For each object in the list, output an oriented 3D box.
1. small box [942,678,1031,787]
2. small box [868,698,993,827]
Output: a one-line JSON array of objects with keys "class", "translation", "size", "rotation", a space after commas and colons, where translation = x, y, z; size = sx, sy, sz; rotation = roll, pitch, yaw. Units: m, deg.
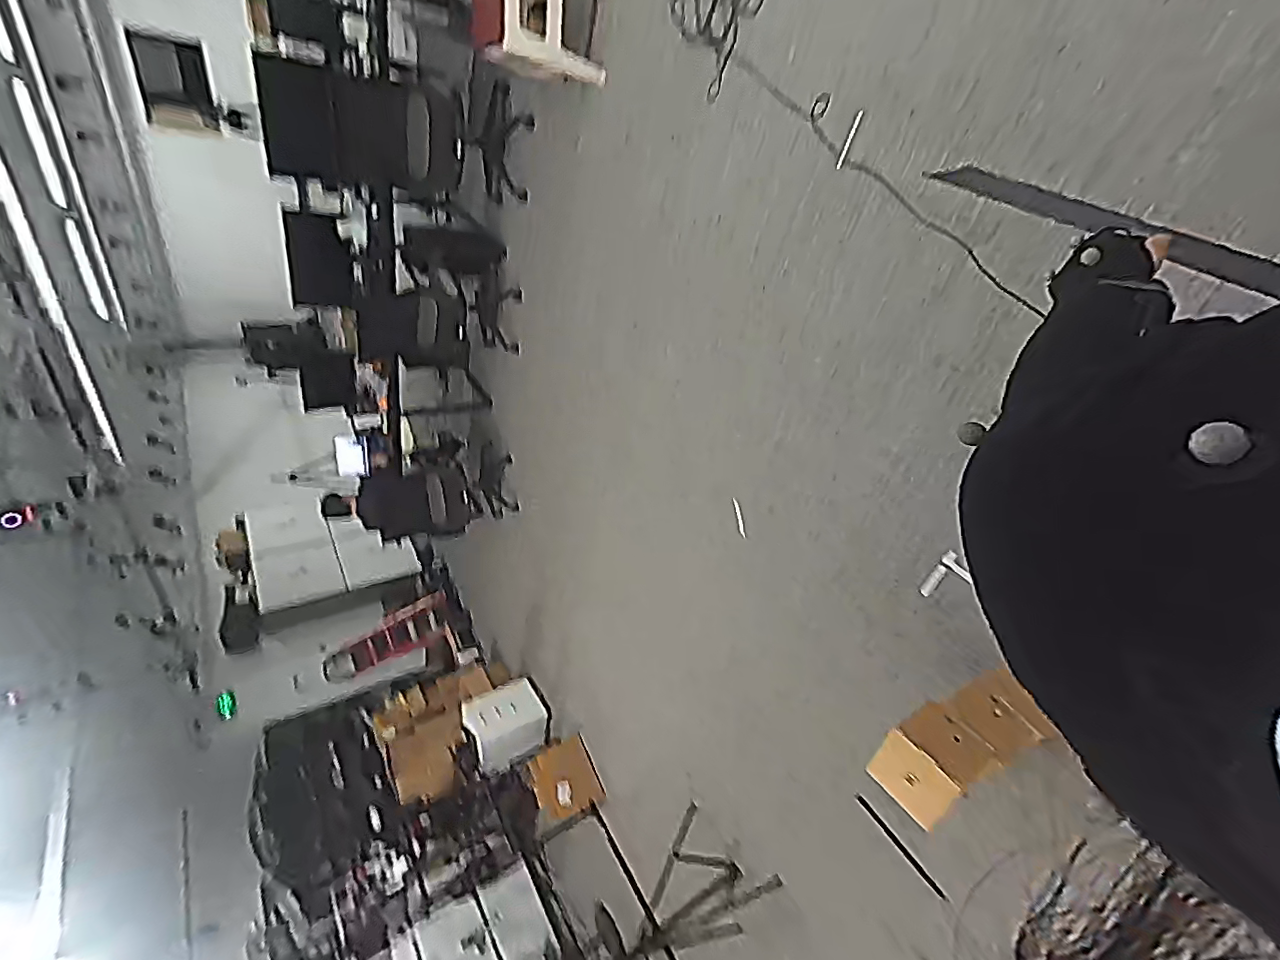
[{"class": "small box", "translation": [0.814, 0.626, 1.337], "size": [0.168, 0.176, 0.179], "rotation": [51, 138, 32]}, {"class": "small box", "translation": [0.674, 0.649, 1.255], "size": [0.168, 0.176, 0.179], "rotation": [42, 133, 41]}]
